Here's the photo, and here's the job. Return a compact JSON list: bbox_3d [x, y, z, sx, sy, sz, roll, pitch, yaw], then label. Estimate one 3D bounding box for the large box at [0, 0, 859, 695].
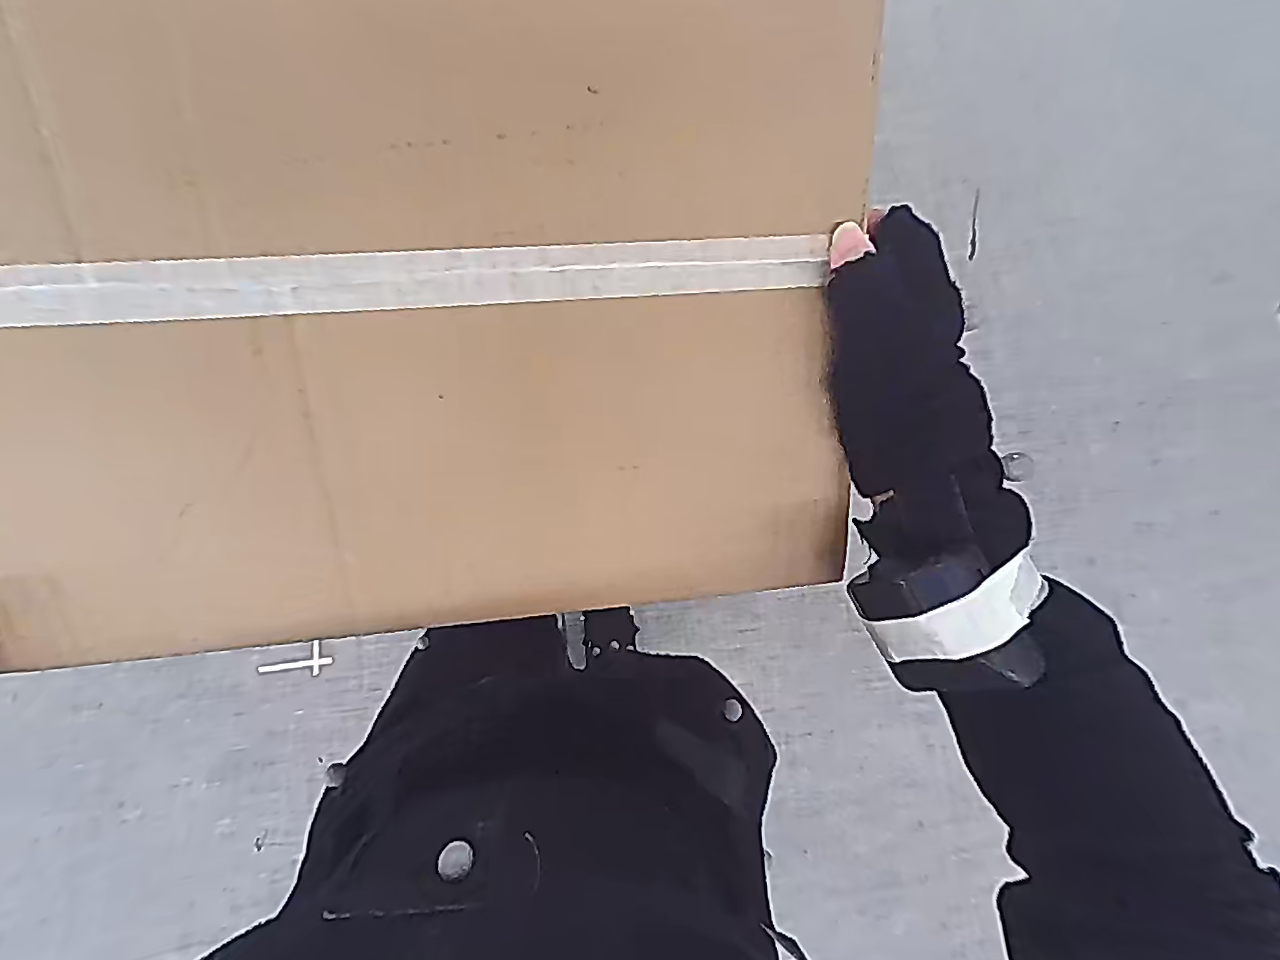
[{"bbox_3d":[-0.122,-0.108,0.366,0.408,0.320,0.320,-5,107,-7],"label":"large box"}]
